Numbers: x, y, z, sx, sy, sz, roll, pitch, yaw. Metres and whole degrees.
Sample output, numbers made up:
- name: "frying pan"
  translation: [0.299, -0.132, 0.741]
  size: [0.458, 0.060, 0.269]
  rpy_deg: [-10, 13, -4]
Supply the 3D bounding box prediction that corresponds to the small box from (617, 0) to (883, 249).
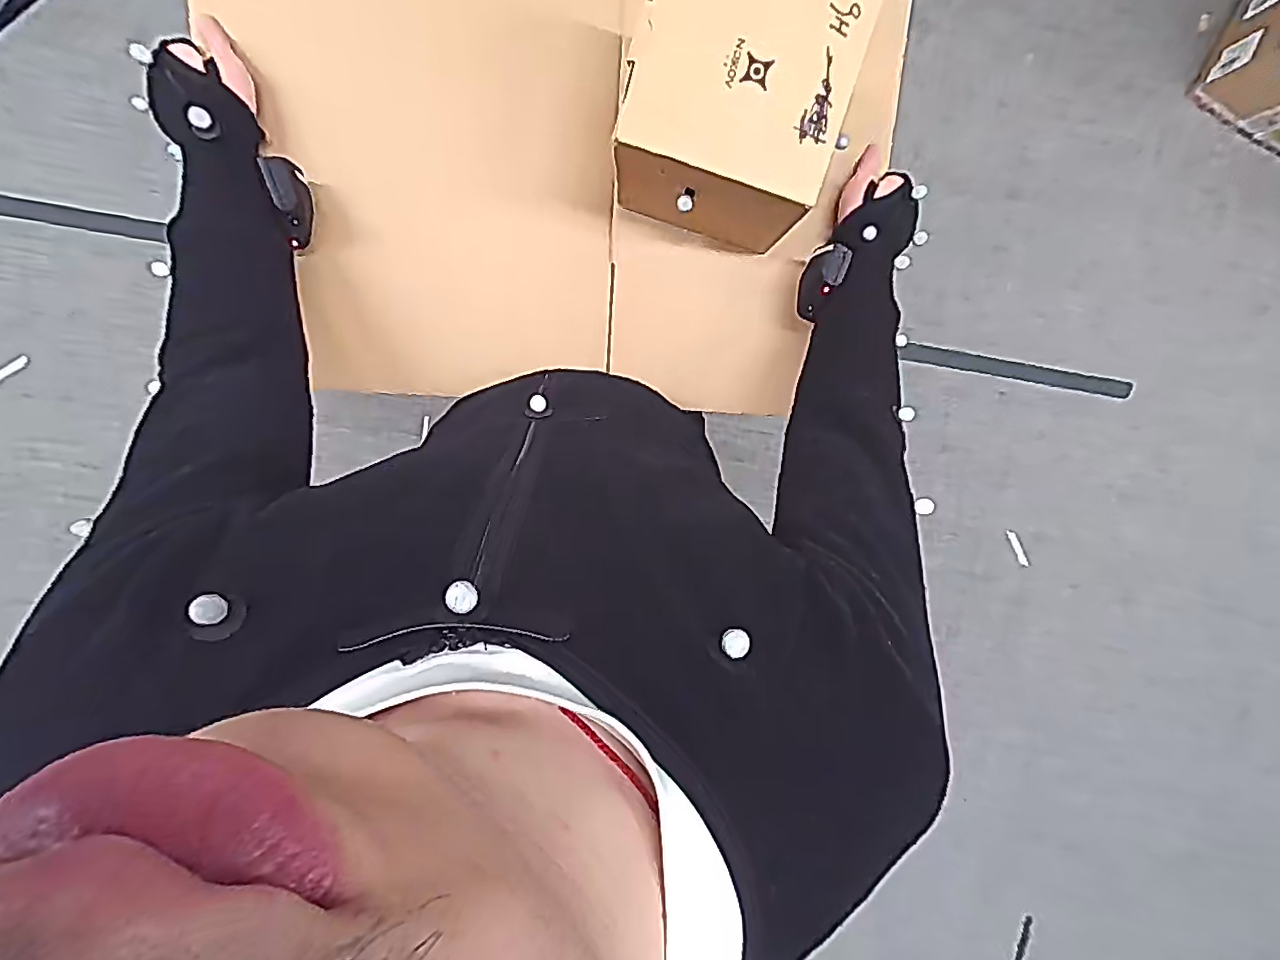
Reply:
- name: "small box"
  translation: [0.086, -0.341, 0.514]
  size: [0.179, 0.176, 0.168]
  rpy_deg: [17, 99, -3]
